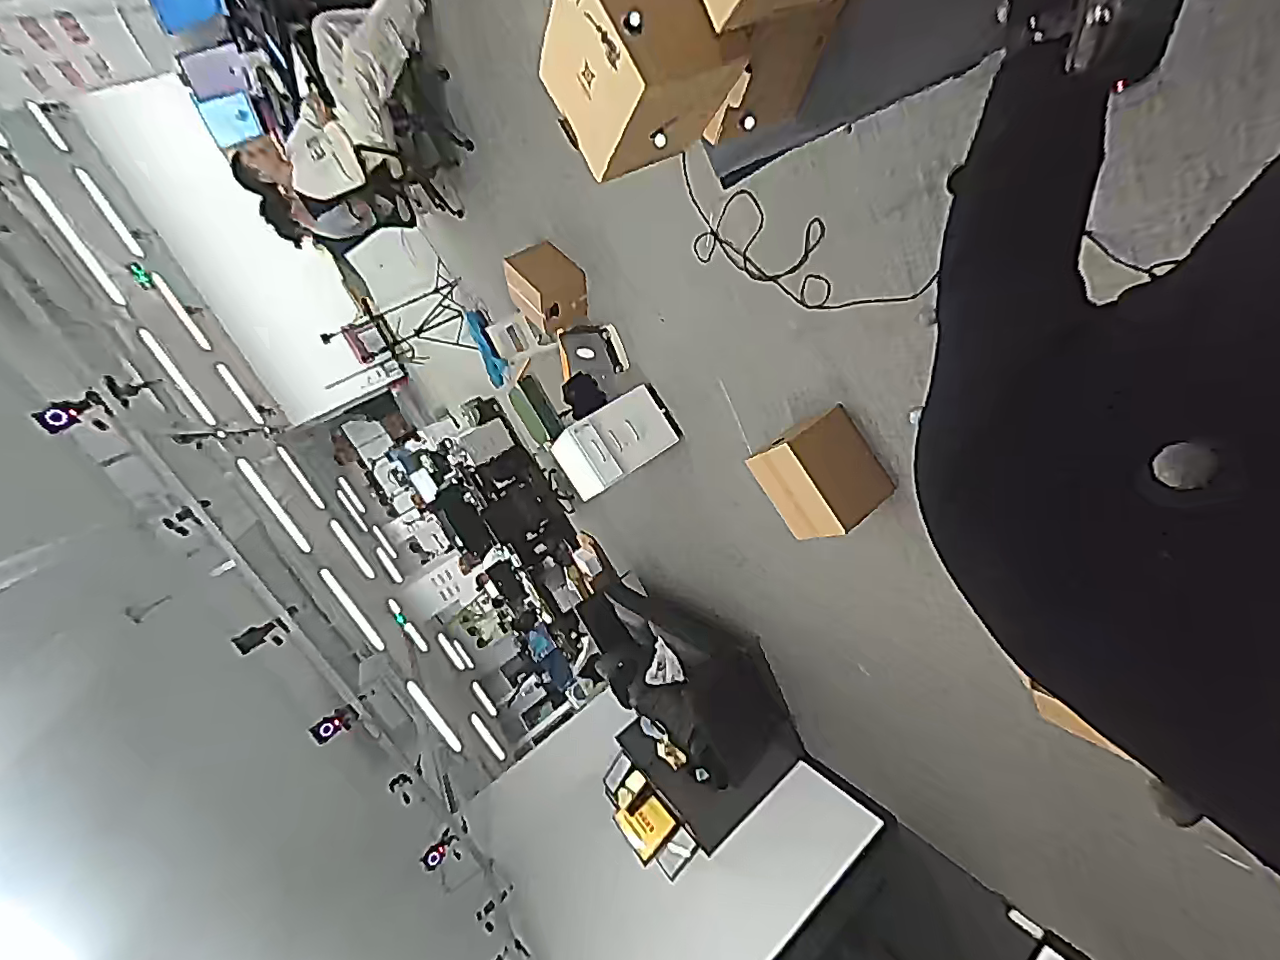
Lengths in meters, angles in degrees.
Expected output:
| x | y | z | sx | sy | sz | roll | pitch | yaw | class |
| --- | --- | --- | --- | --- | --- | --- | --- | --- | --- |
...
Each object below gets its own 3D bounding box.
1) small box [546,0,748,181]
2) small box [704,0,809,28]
| x | y | z | sx | sy | sz | roll | pitch | yaw | class |
| --- | --- | --- | --- | --- | --- | --- | --- | --- | --- |
| 0.005 | -0.529 | 0.688 | 0.168 | 0.176 | 0.179 | 59 | 160 | -5 | small box |
| 0.131 | -0.520 | 0.428 | 0.179 | 0.176 | 0.168 | 61 | 160 | -11 | small box |
